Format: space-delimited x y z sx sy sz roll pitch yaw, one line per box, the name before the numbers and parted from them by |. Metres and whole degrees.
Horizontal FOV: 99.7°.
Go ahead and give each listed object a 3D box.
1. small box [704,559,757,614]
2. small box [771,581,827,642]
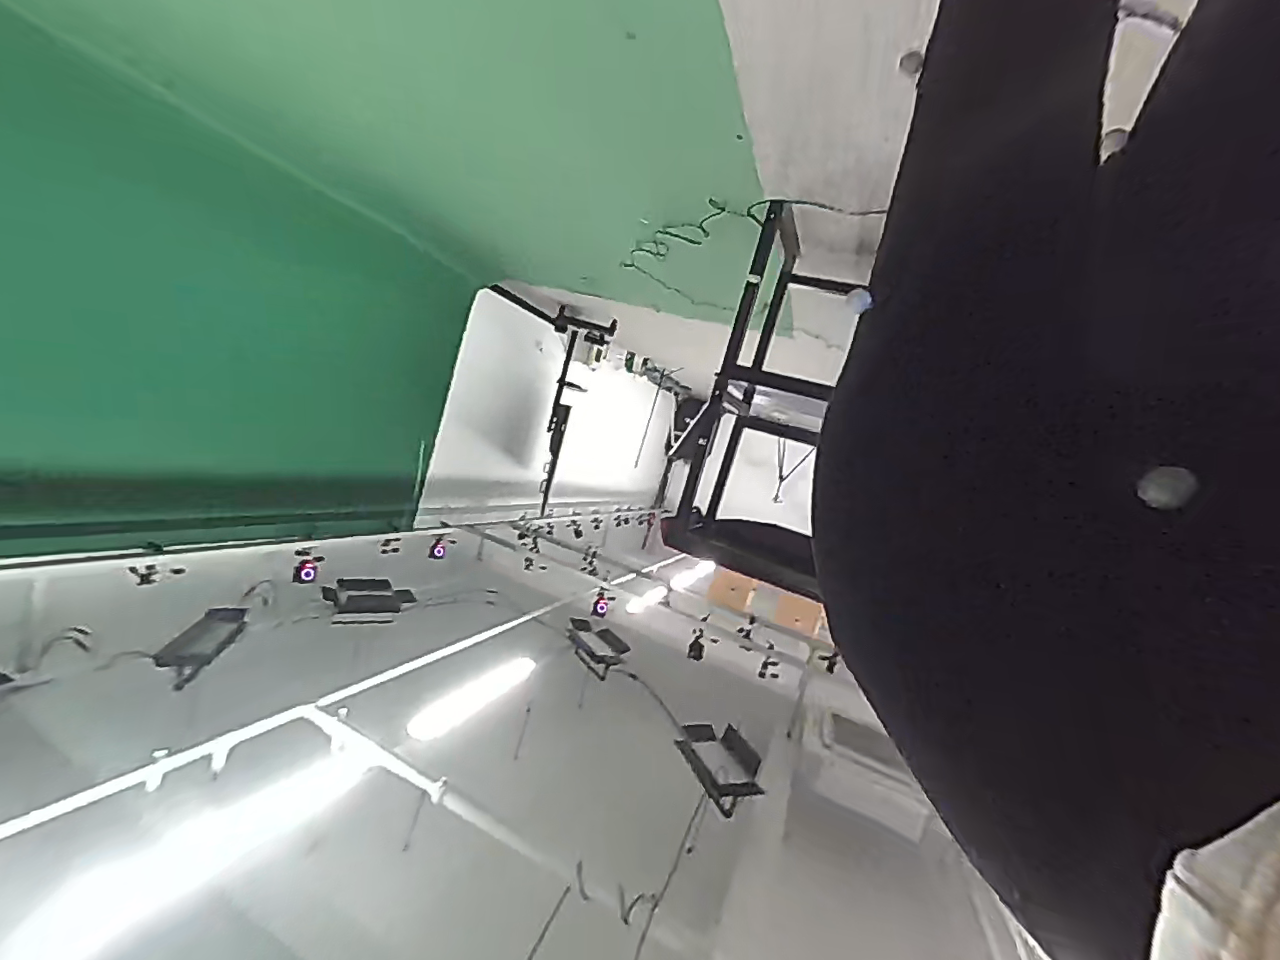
small box | 0.390 0.445 2.285 0.179 0.176 0.168 17 -177 21
small box | 0.650 0.529 2.195 0.179 0.176 0.168 19 -175 22
